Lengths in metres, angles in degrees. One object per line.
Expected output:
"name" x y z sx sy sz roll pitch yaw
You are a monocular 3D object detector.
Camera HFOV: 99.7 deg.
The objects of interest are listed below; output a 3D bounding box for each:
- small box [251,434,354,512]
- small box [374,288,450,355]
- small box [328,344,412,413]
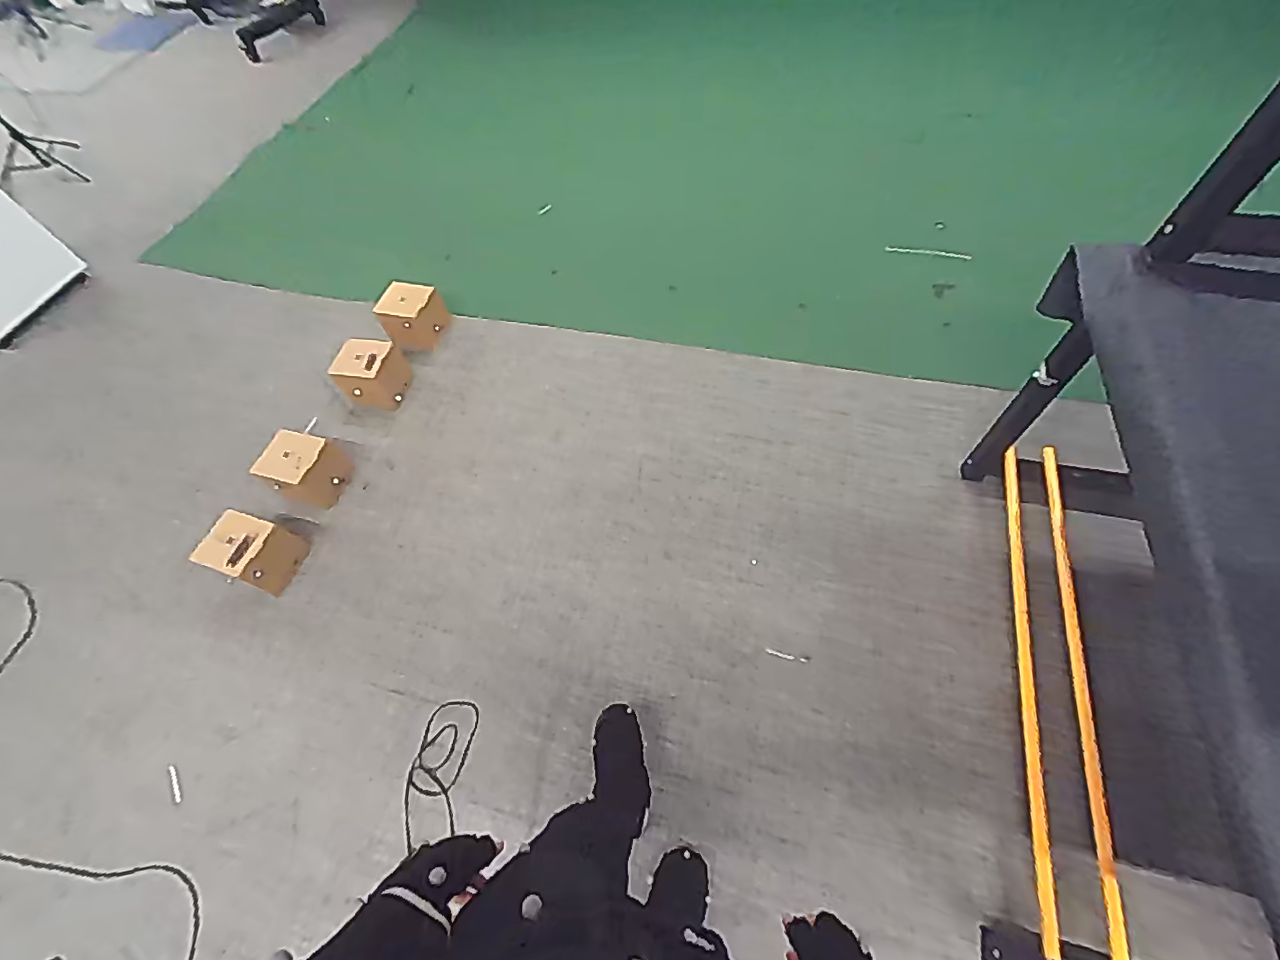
"small box" -1.045 -0.019 1.690 0.179 0.176 0.168 12 61 11
"small box" -0.850 -0.593 2.031 0.179 0.176 0.168 11 61 11
"small box" -0.931 -0.351 1.887 0.179 0.176 0.168 7 59 10
